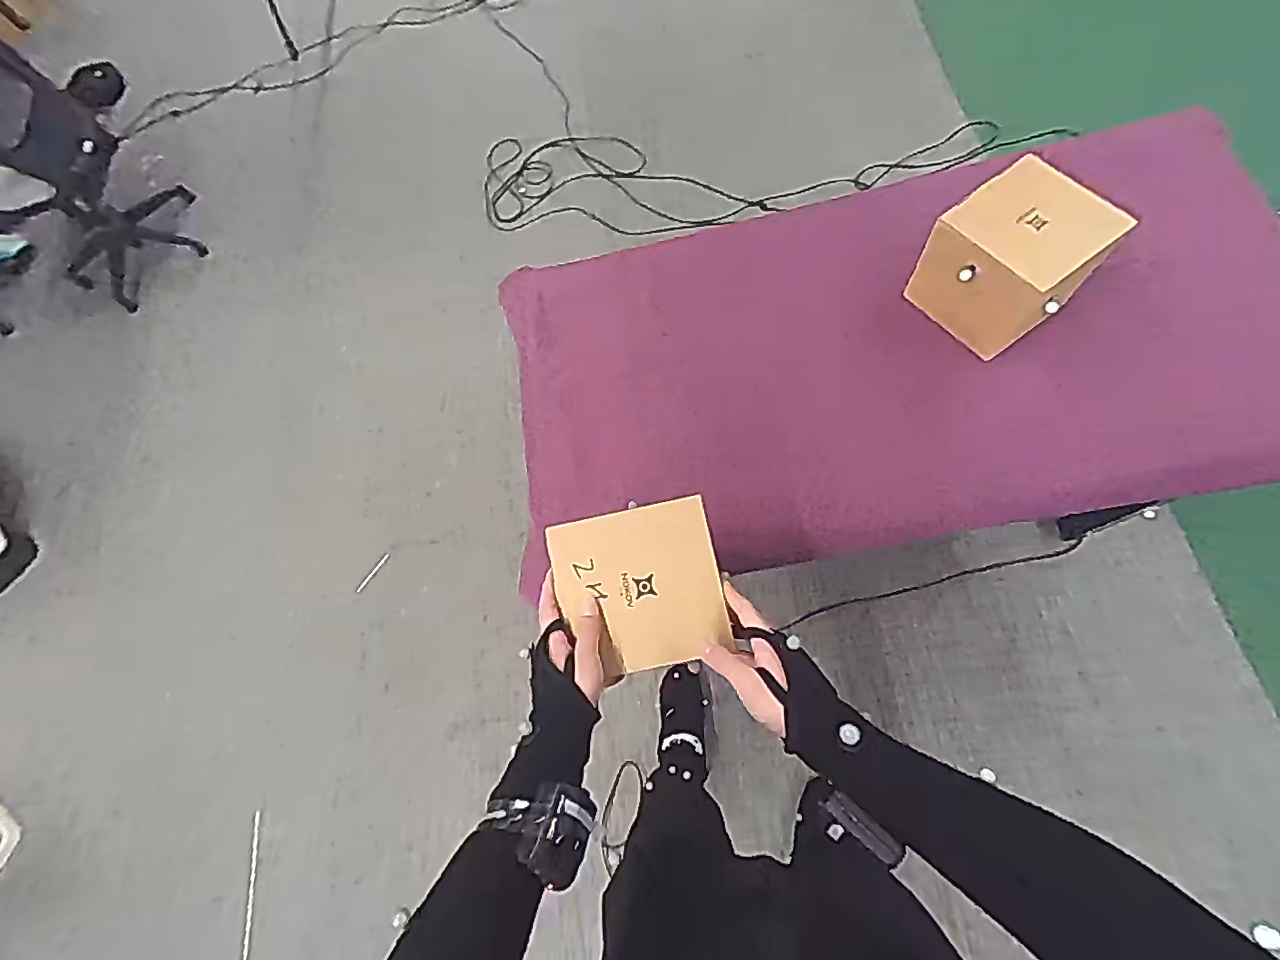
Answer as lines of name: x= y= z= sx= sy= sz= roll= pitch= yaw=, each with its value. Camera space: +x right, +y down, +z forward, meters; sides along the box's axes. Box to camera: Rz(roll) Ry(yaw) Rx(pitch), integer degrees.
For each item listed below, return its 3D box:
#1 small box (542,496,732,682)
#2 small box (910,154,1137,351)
small box: x=0.000 y=0.126 z=0.636 sx=0.179 sy=0.176 sz=0.168 roll=-12 pitch=77 yaw=4
small box: x=0.535 y=-0.315 z=0.787 sx=0.168 sy=0.176 sz=0.179 roll=-36 pitch=68 yaw=-3
